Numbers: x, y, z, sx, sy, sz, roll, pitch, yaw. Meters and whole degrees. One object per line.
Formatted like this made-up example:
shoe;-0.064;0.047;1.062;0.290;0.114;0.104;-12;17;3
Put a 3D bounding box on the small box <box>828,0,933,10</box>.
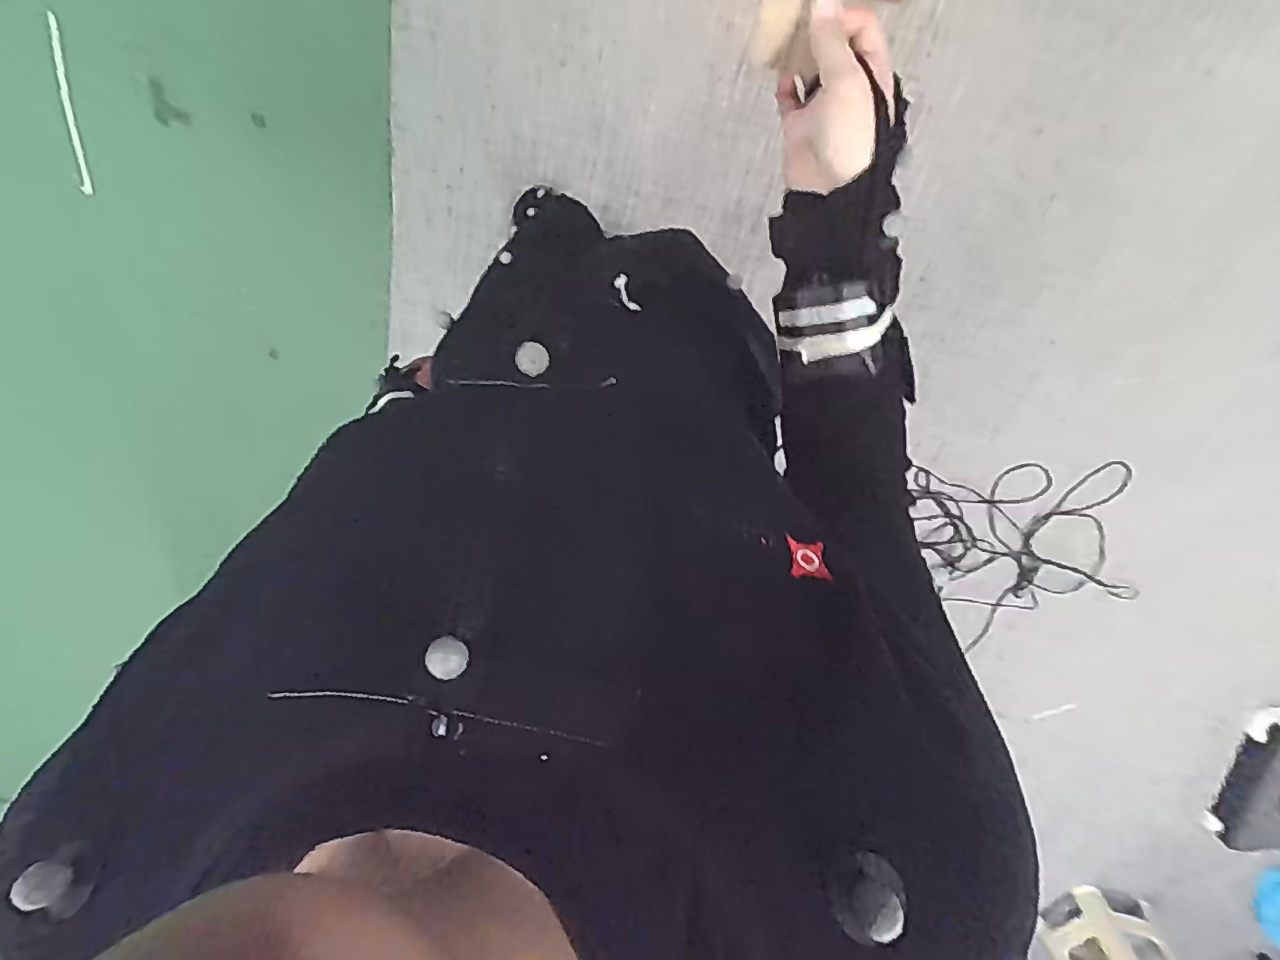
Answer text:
small box;0.120;-0.377;0.282;0.168;0.176;0.179;11;128;5
